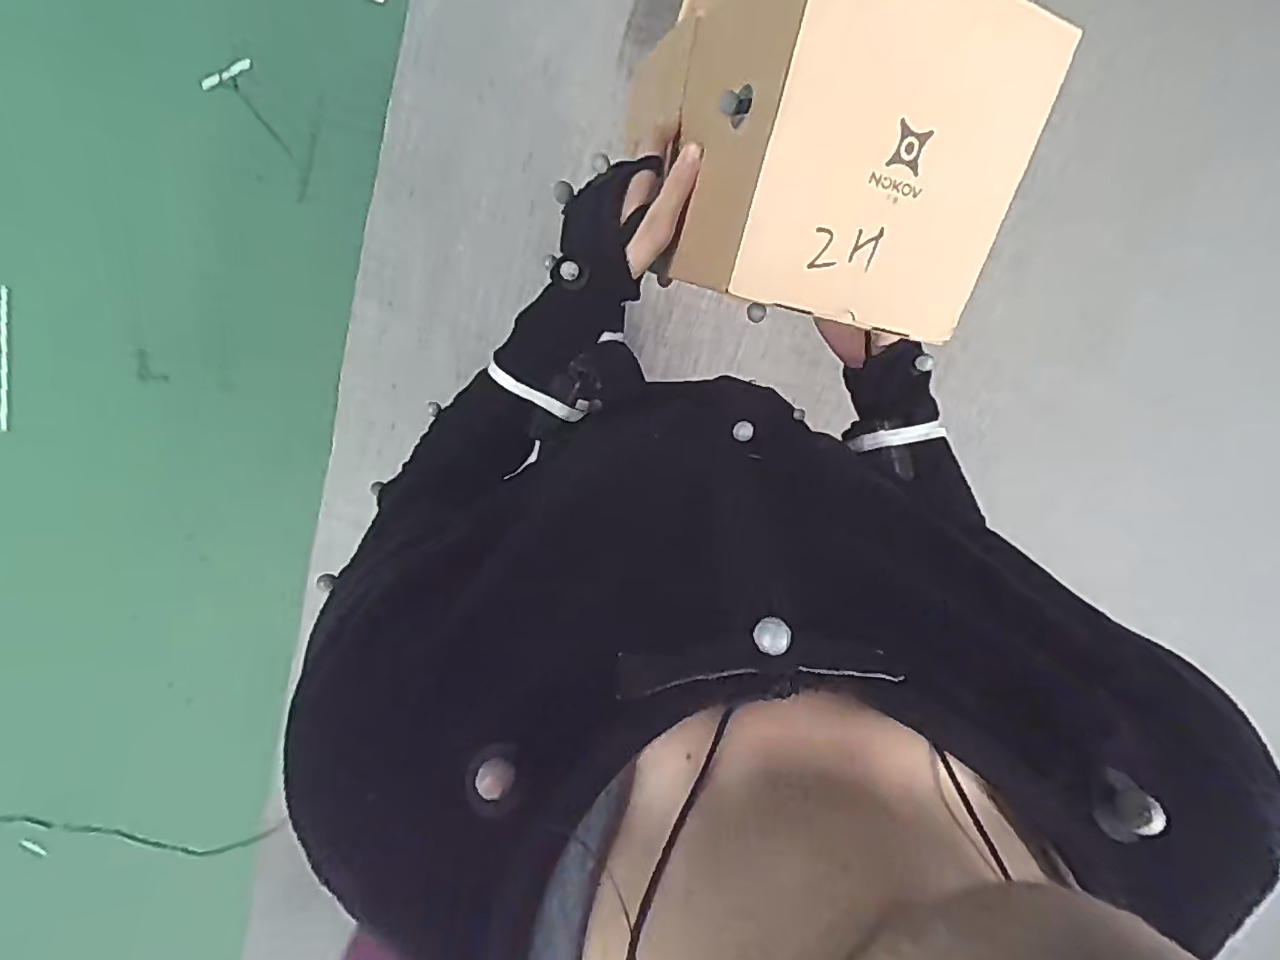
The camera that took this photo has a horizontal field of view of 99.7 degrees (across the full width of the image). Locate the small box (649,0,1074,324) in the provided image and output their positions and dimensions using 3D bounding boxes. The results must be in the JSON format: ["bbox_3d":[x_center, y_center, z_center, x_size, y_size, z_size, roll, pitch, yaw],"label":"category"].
[{"bbox_3d":[0.117,-0.221,0.363,0.168,0.176,0.179,8,112,-18],"label":"small box"}]
